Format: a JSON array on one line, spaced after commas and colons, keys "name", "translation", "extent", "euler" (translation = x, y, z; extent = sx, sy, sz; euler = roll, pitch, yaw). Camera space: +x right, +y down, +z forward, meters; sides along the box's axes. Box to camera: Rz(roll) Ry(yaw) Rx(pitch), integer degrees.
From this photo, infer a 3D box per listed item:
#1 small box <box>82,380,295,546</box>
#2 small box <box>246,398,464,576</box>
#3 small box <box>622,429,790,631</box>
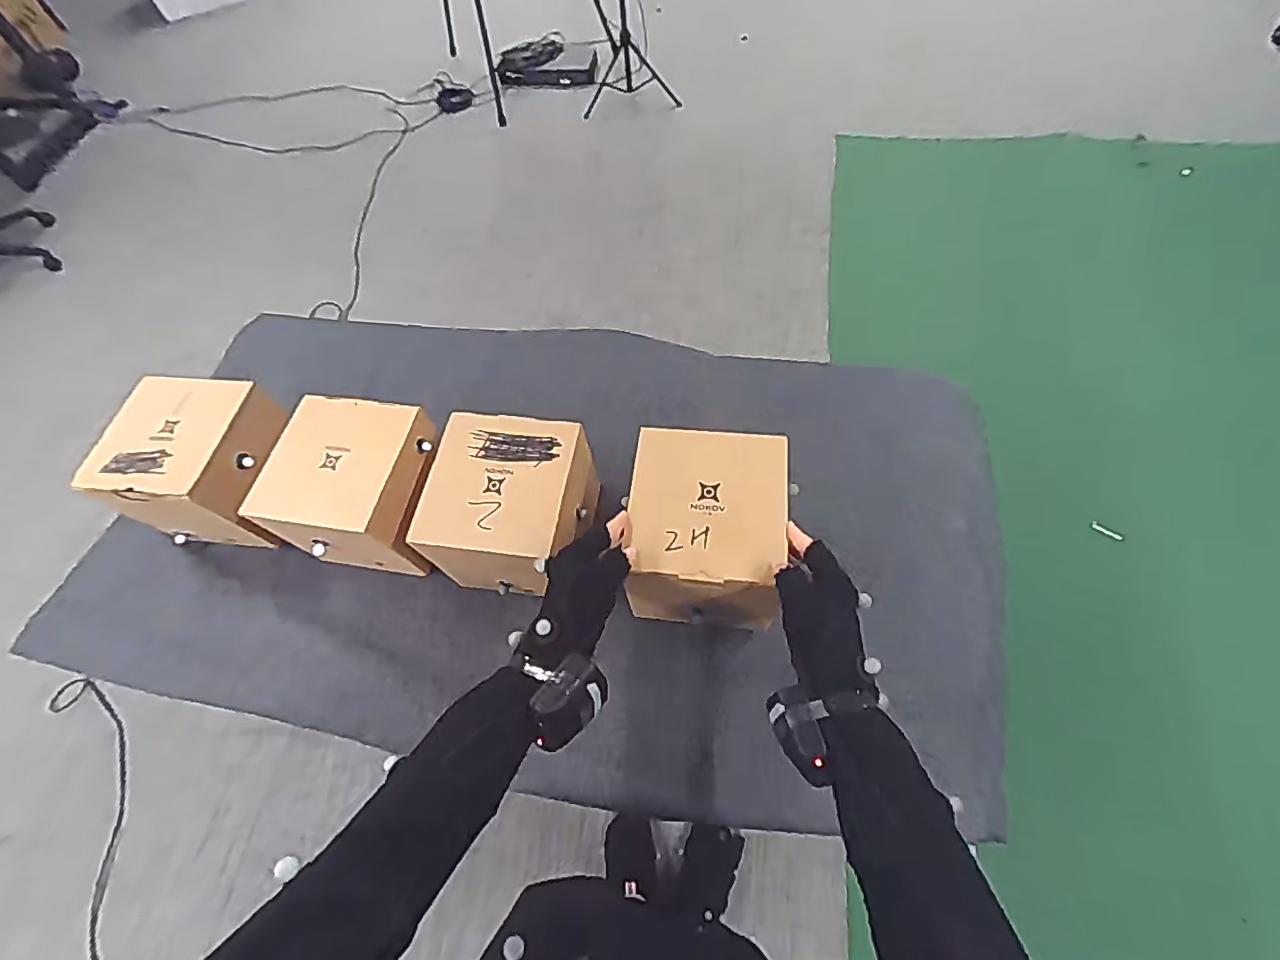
[{"name": "small box", "translation": [-0.590, -0.018, 0.762], "extent": [0.168, 0.176, 0.179], "euler": [4, 61, 7]}, {"name": "small box", "translation": [-0.360, 0.016, 0.725], "extent": [0.168, 0.176, 0.179], "euler": [7, 62, 9]}, {"name": "small box", "translation": [0.079, 0.063, 0.639], "extent": [0.168, 0.176, 0.179], "euler": [5, 61, 8]}]
